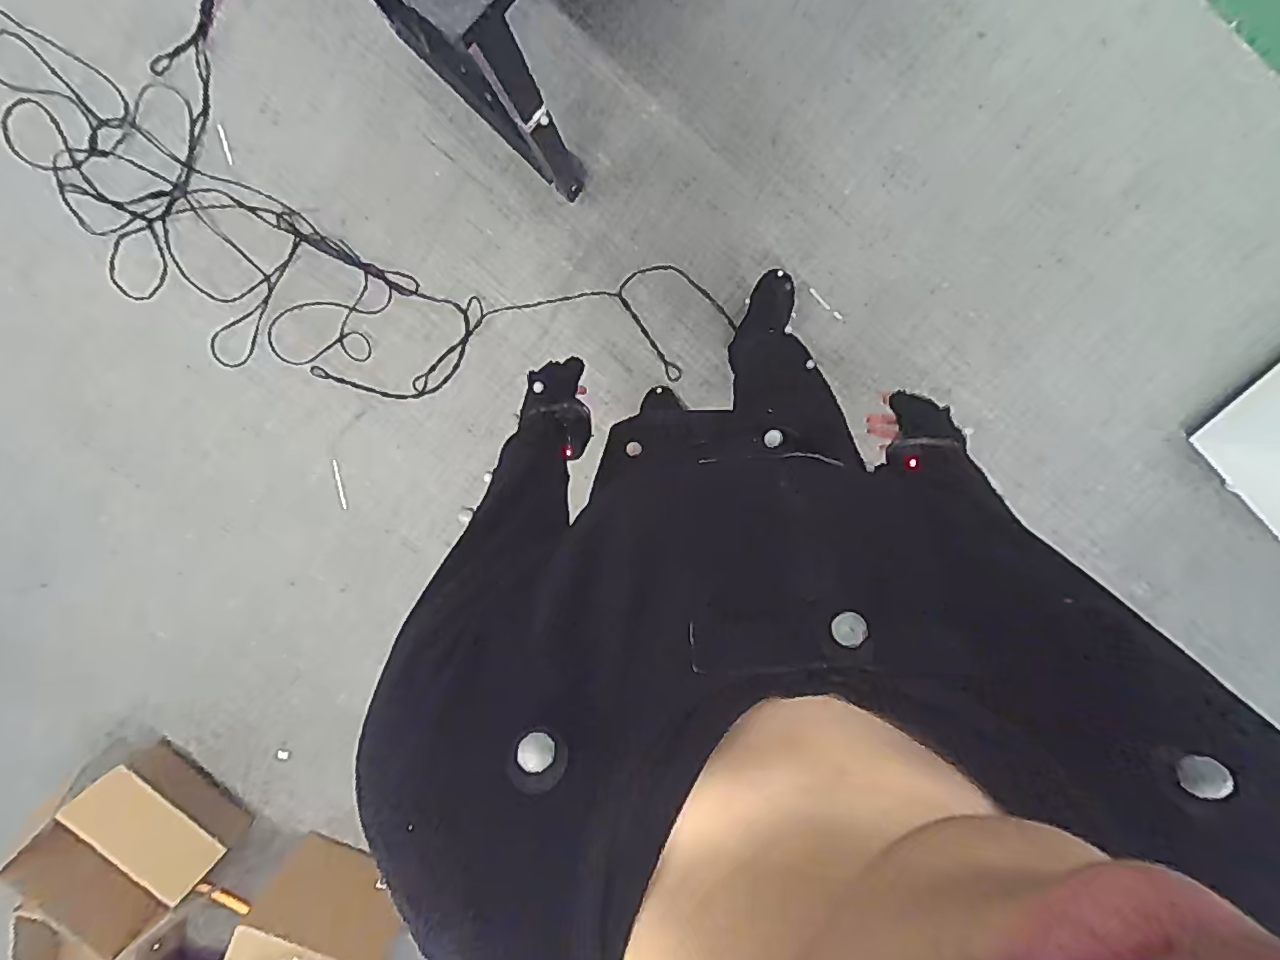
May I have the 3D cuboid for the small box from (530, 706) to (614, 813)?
[{"bbox_3d":[-0.187,0.803,1.565,0.168,0.176,0.179,38,101,-6],"label":"small box"}]
